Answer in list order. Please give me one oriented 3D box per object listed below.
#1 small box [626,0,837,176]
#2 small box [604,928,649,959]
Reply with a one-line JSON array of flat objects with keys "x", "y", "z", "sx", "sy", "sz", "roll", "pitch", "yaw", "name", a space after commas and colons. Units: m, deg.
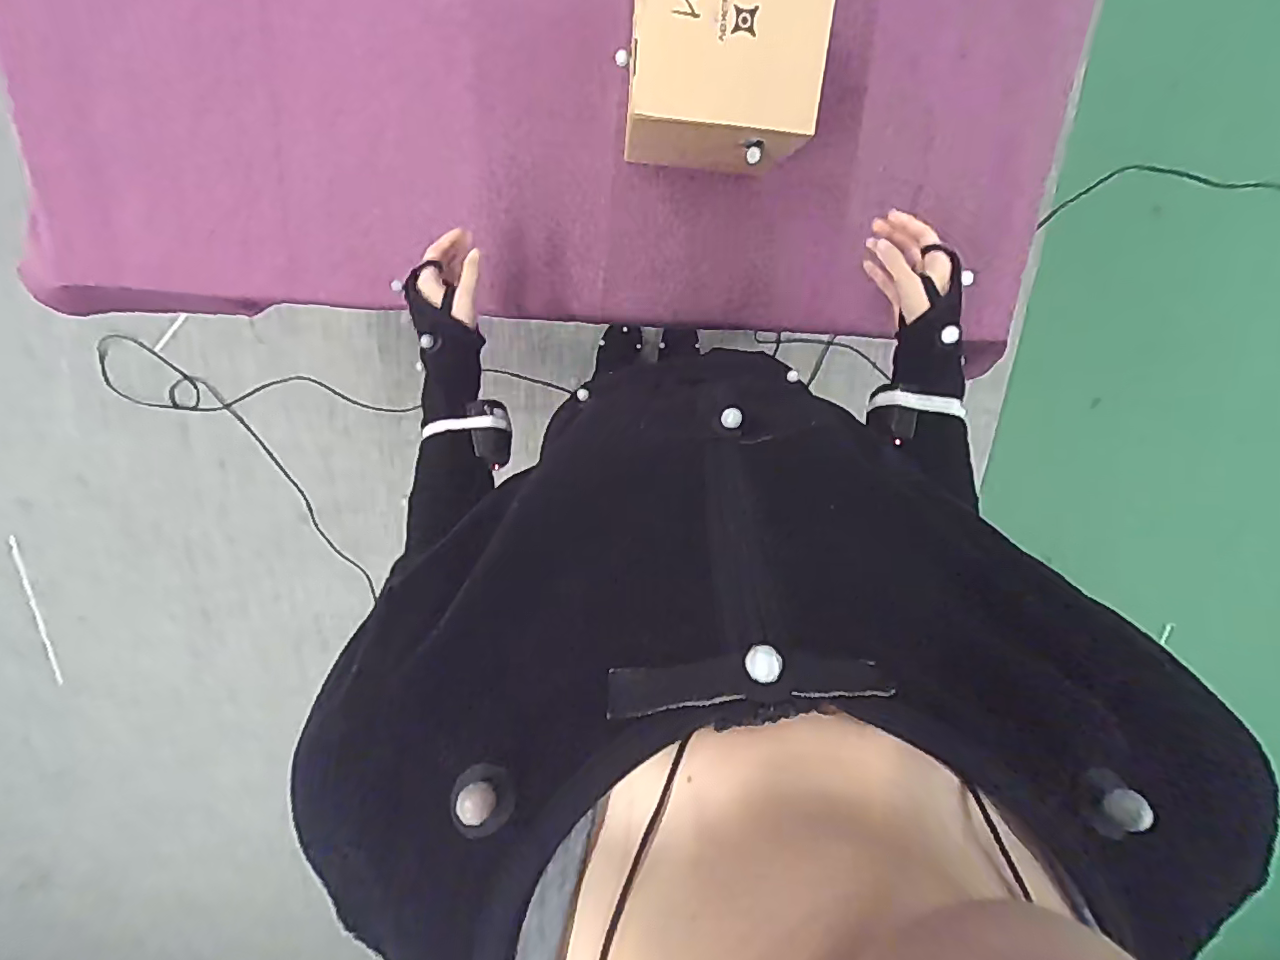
[{"x": 0.081, "y": -0.425, "z": 0.554, "sx": 0.179, "sy": 0.176, "sz": 0.168, "roll": 4, "pitch": 107, "yaw": -4, "name": "small box"}, {"x": -0.054, "y": 1.846, "z": 2.046, "sx": 0.168, "sy": 0.176, "sz": 0.179, "roll": 2, "pitch": 107, "yaw": -4, "name": "small box"}]
